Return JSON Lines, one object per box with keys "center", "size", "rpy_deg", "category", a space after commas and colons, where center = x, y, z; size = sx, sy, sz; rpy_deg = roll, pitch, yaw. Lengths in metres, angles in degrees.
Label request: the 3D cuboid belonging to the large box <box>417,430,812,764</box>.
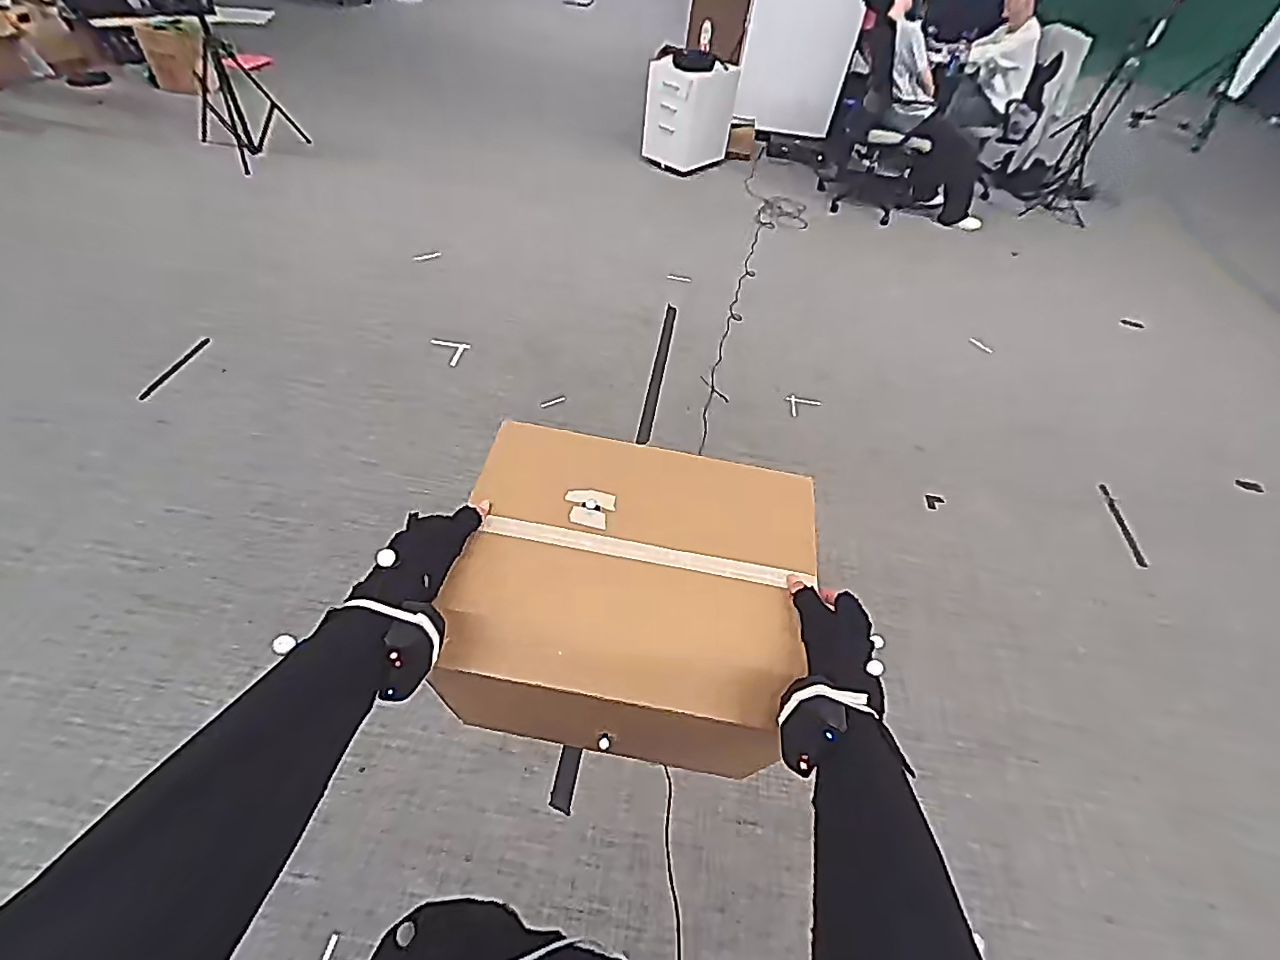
{"center": [-0.017, 0.173, 0.738], "size": [0.408, 0.320, 0.320], "rpy_deg": [10, 54, 1], "category": "large box"}
